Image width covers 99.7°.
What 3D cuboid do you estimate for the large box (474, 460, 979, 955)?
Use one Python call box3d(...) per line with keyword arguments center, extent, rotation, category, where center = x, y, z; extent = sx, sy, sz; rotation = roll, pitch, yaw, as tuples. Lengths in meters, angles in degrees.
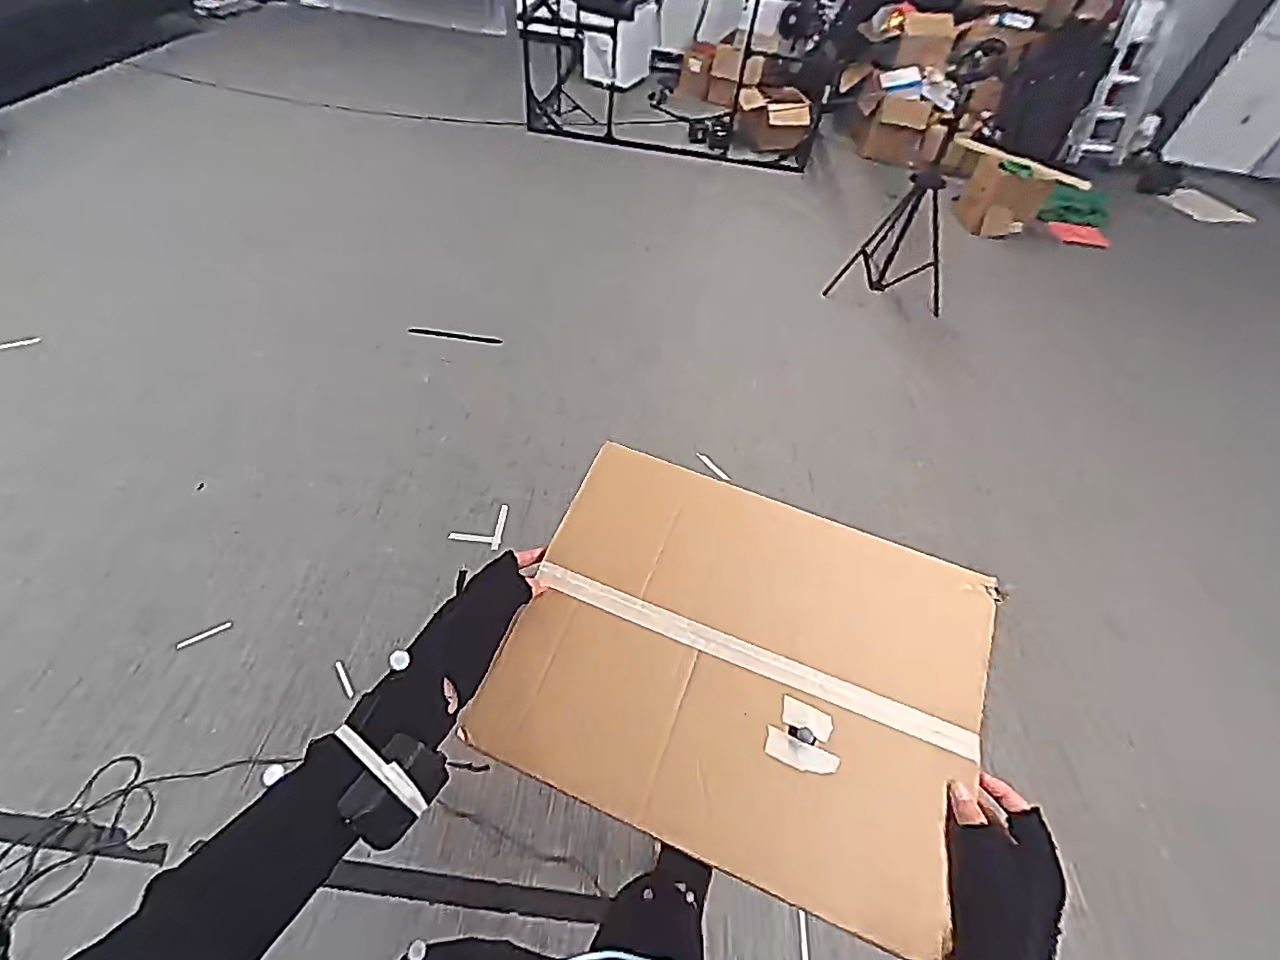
box3d(center=(0.090, 0.233, 0.627), extent=(0.408, 0.320, 0.320), rotation=(20, 65, 10), category="large box")
